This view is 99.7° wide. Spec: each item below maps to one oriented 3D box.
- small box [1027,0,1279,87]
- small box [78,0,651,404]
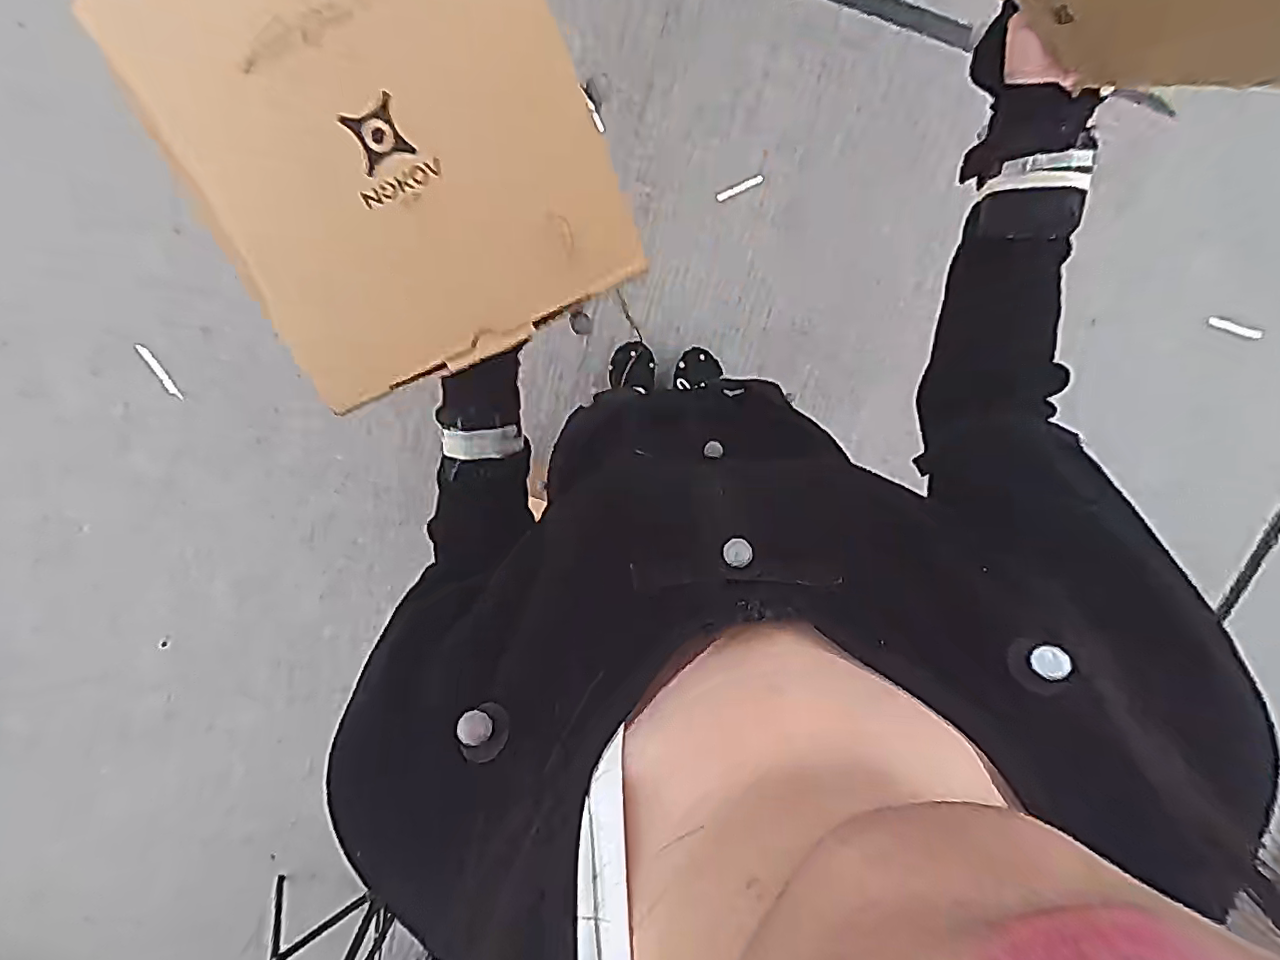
[{"bbox_3d":[0.276,-0.297,0.221,0.168,0.176,0.179,25,119,-22],"label":"small box"},{"bbox_3d":[-0.104,-0.166,0.294,0.168,0.176,0.179,-24,108,5],"label":"small box"}]
